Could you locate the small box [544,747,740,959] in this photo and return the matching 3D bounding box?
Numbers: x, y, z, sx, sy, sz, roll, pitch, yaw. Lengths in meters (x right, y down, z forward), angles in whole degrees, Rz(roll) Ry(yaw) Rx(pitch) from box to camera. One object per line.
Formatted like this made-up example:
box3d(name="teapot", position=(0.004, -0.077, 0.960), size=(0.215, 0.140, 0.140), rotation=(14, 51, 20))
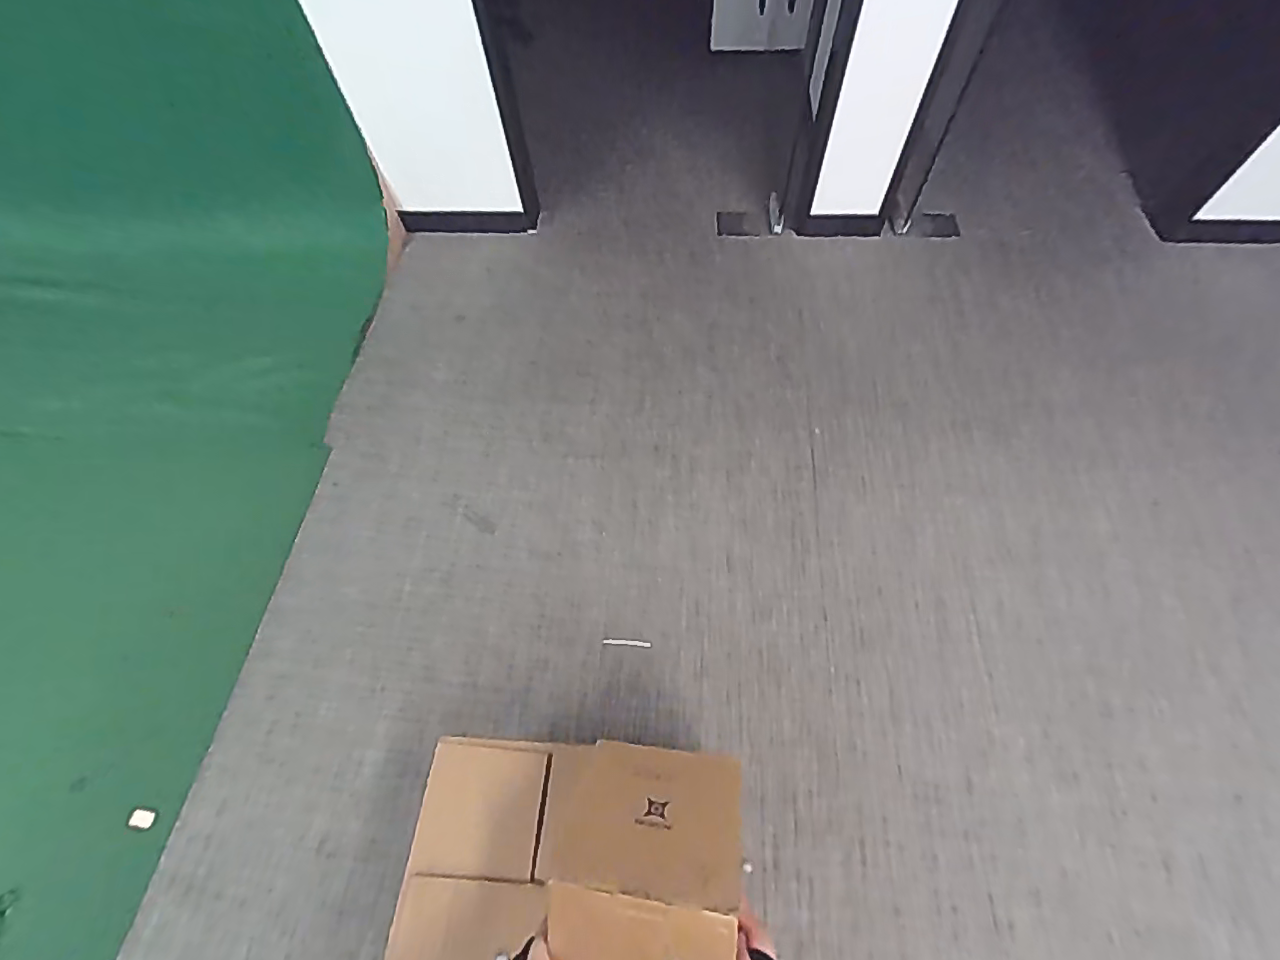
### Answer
box3d(name="small box", position=(0.013, 0.409, 0.543), size=(0.168, 0.179, 0.176), rotation=(4, 104, 10))
